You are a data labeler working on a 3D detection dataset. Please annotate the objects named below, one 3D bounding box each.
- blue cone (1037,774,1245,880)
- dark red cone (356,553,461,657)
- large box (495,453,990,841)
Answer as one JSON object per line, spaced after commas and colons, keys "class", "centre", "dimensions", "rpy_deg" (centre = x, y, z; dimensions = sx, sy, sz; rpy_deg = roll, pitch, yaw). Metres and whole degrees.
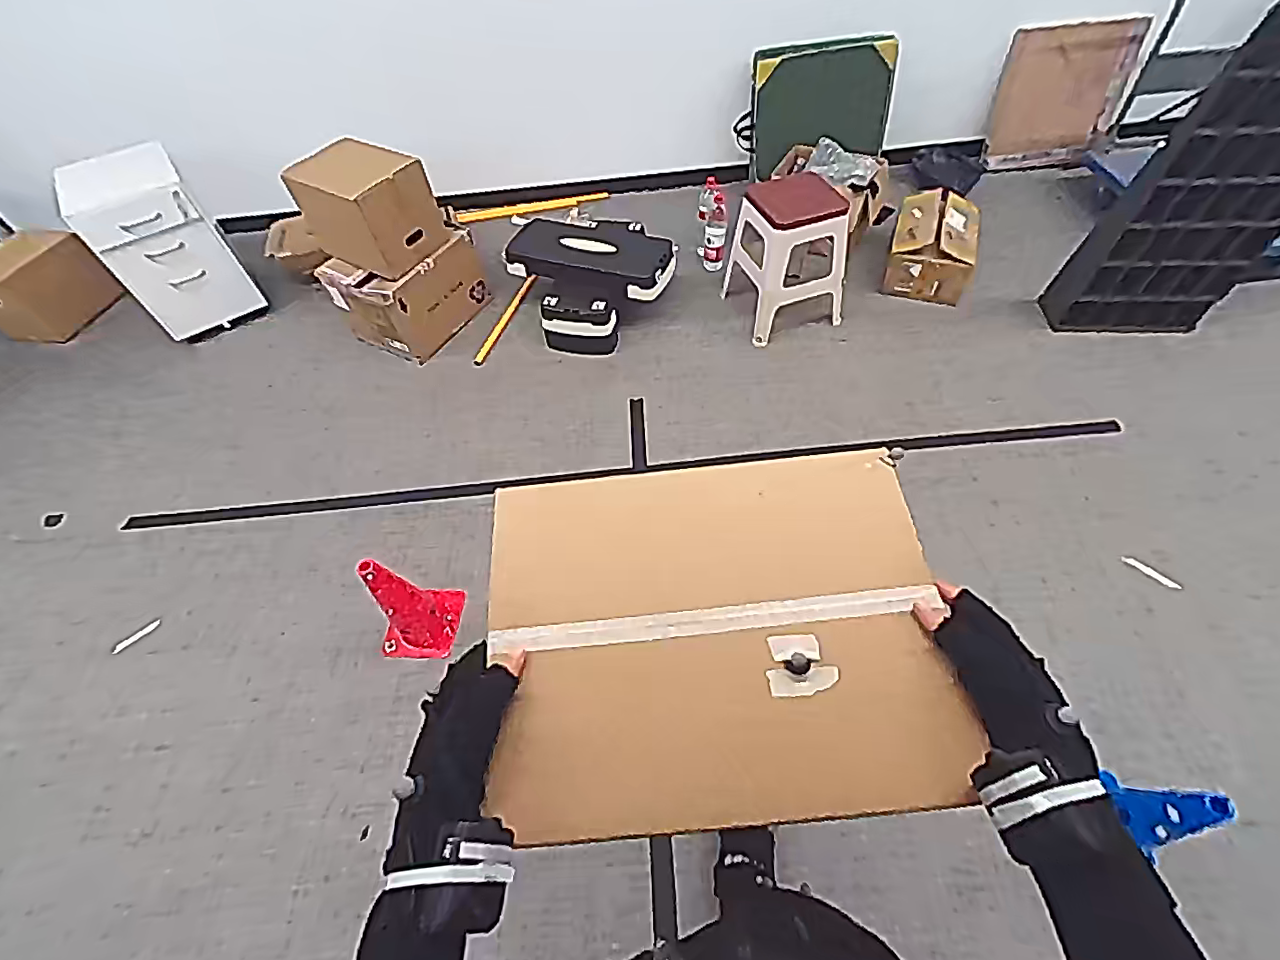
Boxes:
{"class": "blue cone", "centre": [0.972, 0.648, 1.036], "dimensions": [0.192, 0.380, 0.193], "rpy_deg": [-2, 54, 2]}
{"class": "dark red cone", "centre": [-0.624, 0.301, 1.388], "dimensions": [0.201, 0.394, 0.202], "rpy_deg": [0, 54, 4]}
{"class": "large box", "centre": [0.074, 0.198, 0.625], "dimensions": [0.408, 0.320, 0.320], "rpy_deg": [-6, 62, 1]}
